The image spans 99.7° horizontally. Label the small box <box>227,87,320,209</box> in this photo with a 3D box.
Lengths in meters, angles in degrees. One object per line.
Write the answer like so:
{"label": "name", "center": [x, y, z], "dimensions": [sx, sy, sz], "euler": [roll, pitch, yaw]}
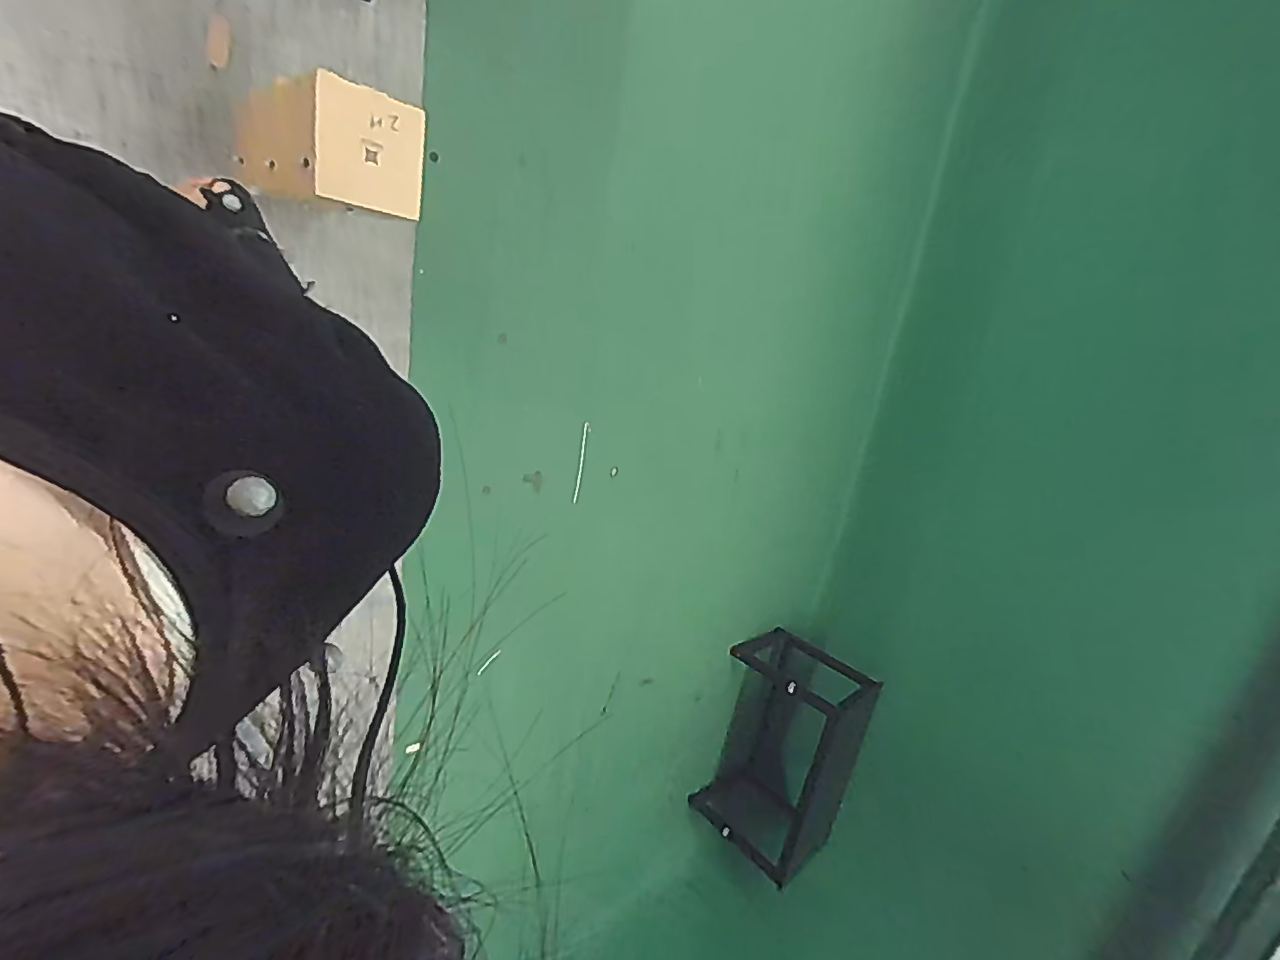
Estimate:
{"label": "small box", "center": [-0.733, -0.669, 1.117], "dimensions": [0.179, 0.176, 0.168], "euler": [-4, 111, -46]}

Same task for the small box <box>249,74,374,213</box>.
{"label": "small box", "center": [-0.618, -0.617, 1.016], "dimensions": [0.168, 0.176, 0.179], "euler": [-7, 115, -45]}
